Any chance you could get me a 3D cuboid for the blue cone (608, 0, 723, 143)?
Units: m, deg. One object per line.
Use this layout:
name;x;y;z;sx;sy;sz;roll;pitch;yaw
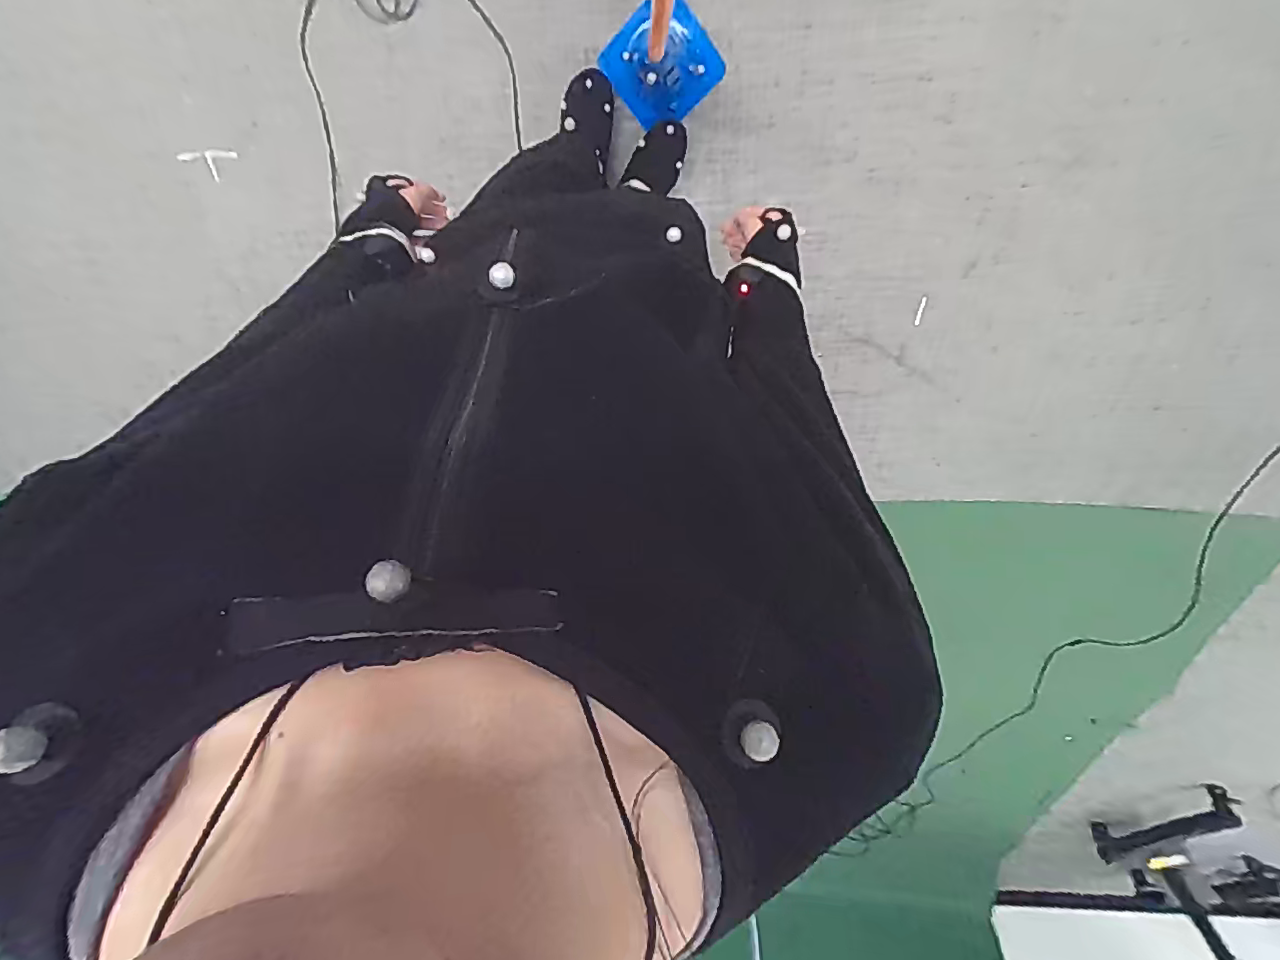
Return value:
blue cone;0.043;-0.732;0.953;0.193;0.380;0.192;-36;116;24
